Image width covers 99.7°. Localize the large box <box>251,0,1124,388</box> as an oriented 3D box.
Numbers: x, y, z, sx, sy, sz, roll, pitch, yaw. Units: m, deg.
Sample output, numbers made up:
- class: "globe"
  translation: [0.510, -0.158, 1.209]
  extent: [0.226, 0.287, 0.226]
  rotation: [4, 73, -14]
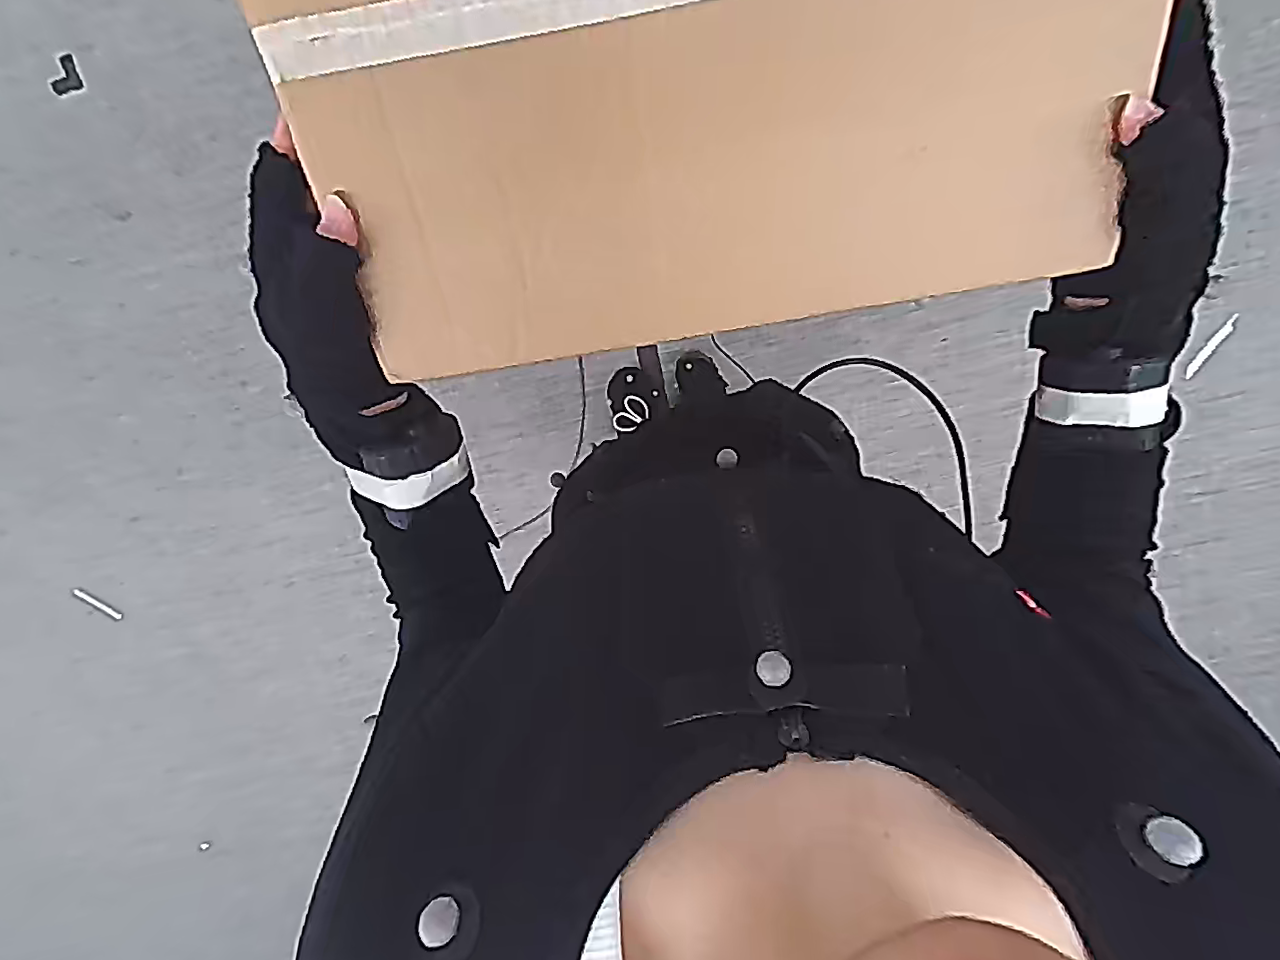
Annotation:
- class: "large box"
  translation: [0.023, -0.288, 0.379]
  extent: [0.408, 0.320, 0.320]
  rotation: [-9, 116, 3]
